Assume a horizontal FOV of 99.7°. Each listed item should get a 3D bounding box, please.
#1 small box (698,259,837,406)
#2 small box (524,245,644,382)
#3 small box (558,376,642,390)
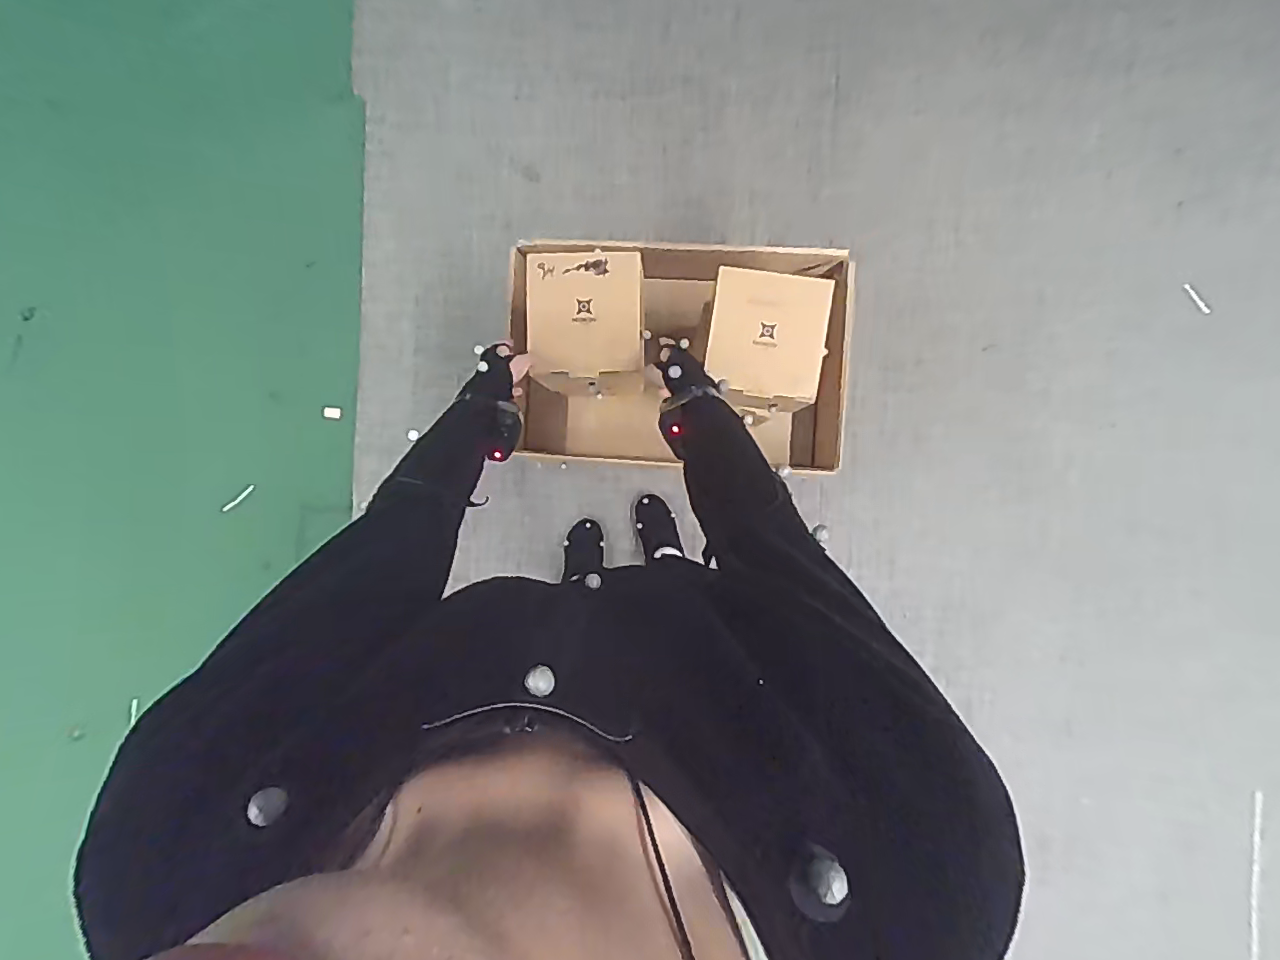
[{"bbox_3d":[0.184,-0.215,0.835,0.168,0.176,0.179,9,92,2],"label":"small box"},{"bbox_3d":[-0.079,-0.248,0.843,0.168,0.176,0.179,0,92,2],"label":"small box"},{"bbox_3d":[-0.080,-0.267,1.007,0.168,0.176,0.179,0,92,3],"label":"small box"}]
